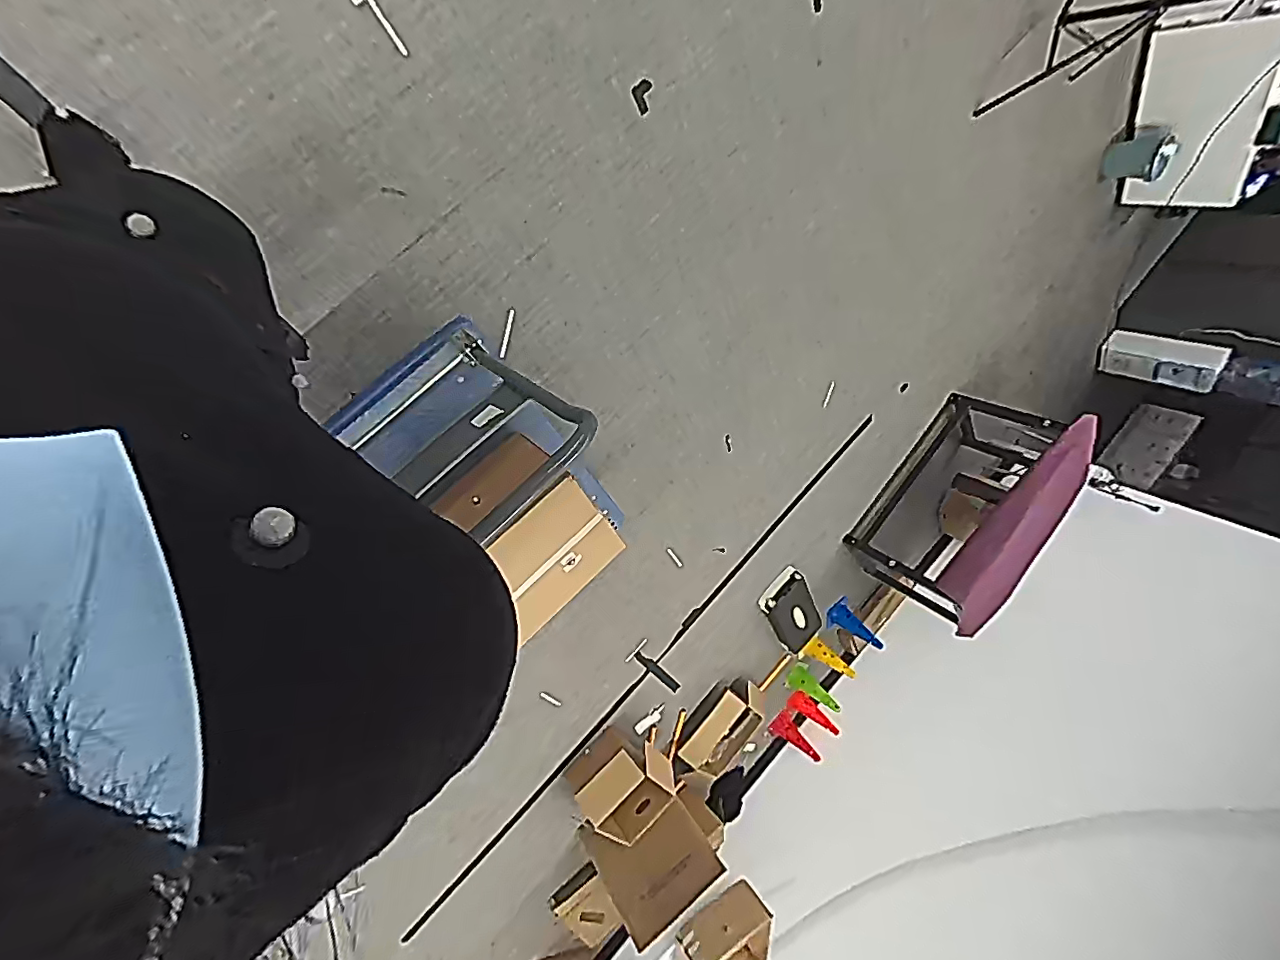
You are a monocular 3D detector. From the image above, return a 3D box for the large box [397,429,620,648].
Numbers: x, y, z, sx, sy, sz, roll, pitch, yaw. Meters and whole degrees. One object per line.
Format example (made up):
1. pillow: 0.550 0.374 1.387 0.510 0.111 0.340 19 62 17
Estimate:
1. large box: -0.338 0.141 1.404 0.408 0.320 0.320 -44 134 -13
